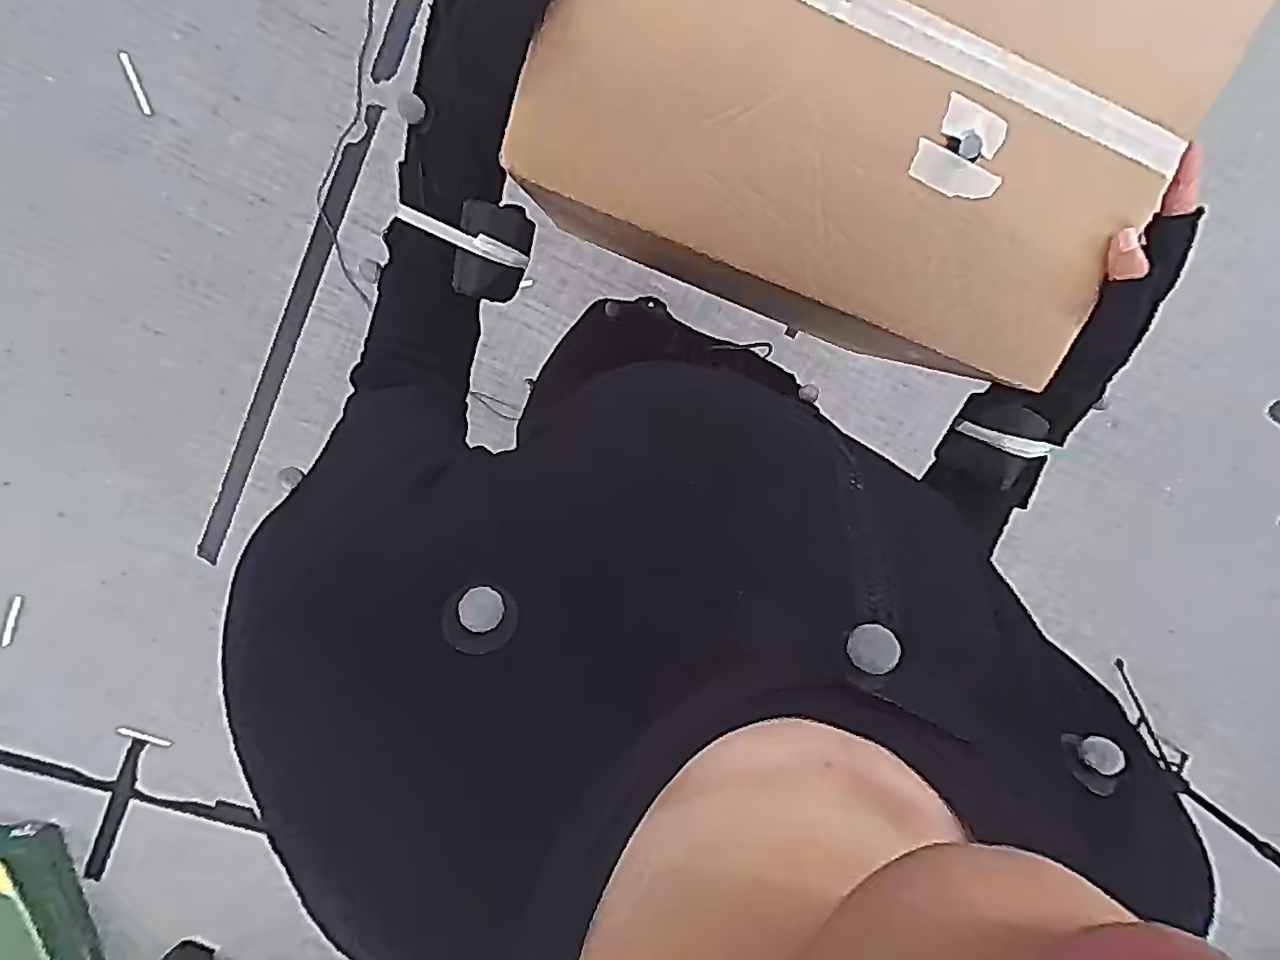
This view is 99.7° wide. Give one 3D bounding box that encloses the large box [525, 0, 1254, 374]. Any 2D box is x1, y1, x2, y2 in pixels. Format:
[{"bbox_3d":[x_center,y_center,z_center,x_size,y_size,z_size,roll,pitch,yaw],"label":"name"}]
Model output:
[{"bbox_3d":[0.153,-0.324,0.475,0.408,0.320,0.320,20,108,-9],"label":"large box"}]
